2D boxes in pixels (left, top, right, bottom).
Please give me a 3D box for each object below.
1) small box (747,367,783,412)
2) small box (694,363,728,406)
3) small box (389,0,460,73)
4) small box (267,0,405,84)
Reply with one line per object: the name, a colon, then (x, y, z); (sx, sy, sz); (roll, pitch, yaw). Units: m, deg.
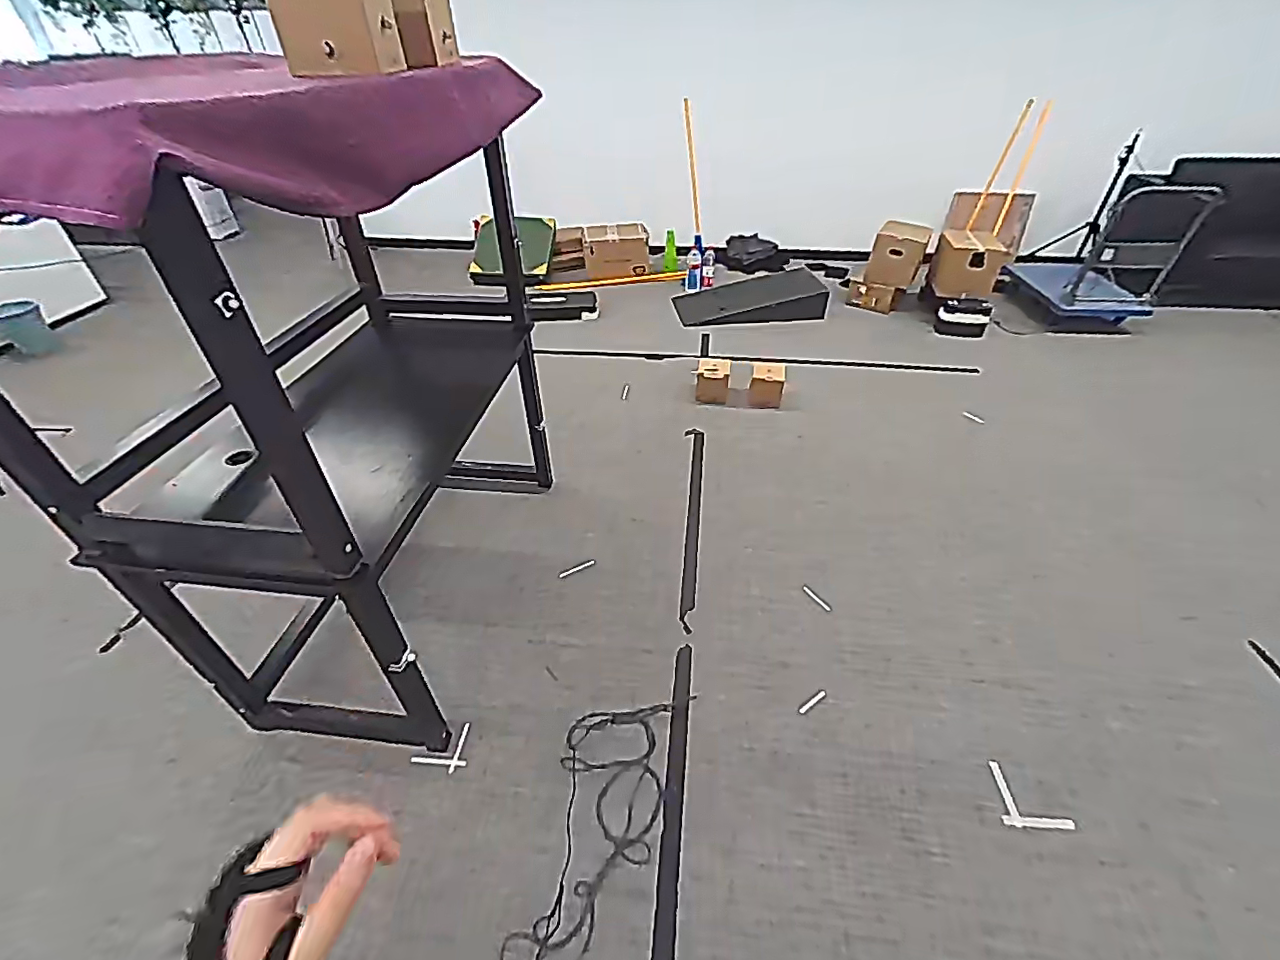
small box: (0.662, -0.481, 2.868); (0.168, 0.176, 0.179); (8, 40, 9)
small box: (0.382, -0.511, 2.899); (0.168, 0.176, 0.179); (6, 39, 6)
small box: (-0.549, -1.070, 1.277); (0.179, 0.176, 0.168); (2, 40, 4)
small box: (-0.582, -0.880, 1.048); (0.179, 0.176, 0.168); (-1, 39, -1)
